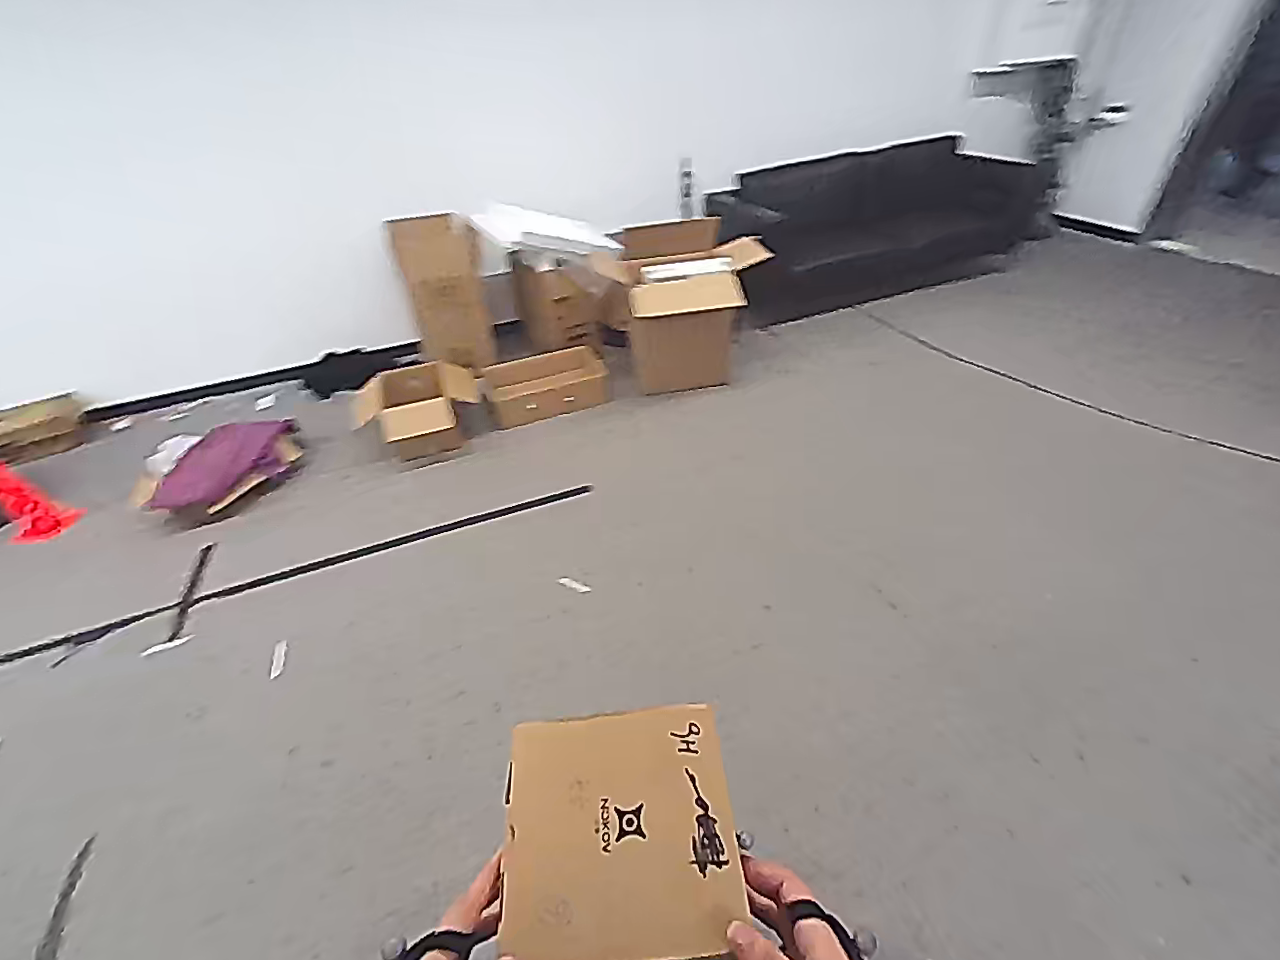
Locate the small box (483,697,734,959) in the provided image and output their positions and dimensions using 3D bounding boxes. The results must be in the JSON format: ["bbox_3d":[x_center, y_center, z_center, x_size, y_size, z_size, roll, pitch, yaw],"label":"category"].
[{"bbox_3d":[-0.022,0.315,0.476,0.179,0.176,0.168,-6,46,-2],"label":"small box"}]

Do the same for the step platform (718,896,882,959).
[{"bbox_3d":[0.347,0.981,0.689,0.286,0.204,0.684,-17,40,-15],"label":"step platform"}]
